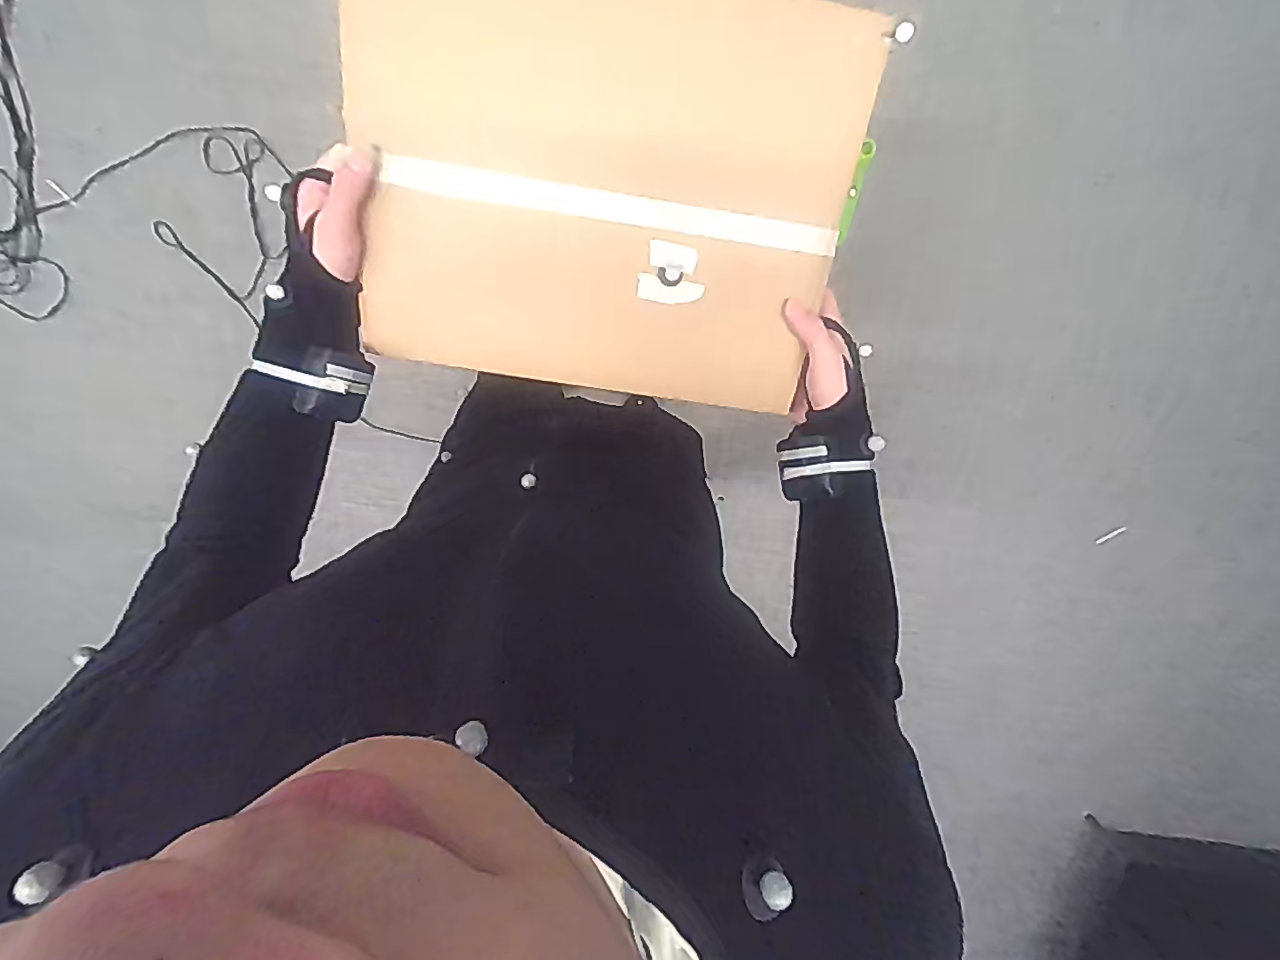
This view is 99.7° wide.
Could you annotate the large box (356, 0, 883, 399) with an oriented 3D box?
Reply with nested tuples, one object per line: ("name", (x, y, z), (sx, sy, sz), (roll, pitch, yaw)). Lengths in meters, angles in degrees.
("large box", (-0.035, -0.301, 0.593), (0.408, 0.320, 0.320), (7, 116, -5))

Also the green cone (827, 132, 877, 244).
("green cone", (0.466, -0.710, 1.263), (0.200, 0.368, 0.202), (13, 102, -1))
